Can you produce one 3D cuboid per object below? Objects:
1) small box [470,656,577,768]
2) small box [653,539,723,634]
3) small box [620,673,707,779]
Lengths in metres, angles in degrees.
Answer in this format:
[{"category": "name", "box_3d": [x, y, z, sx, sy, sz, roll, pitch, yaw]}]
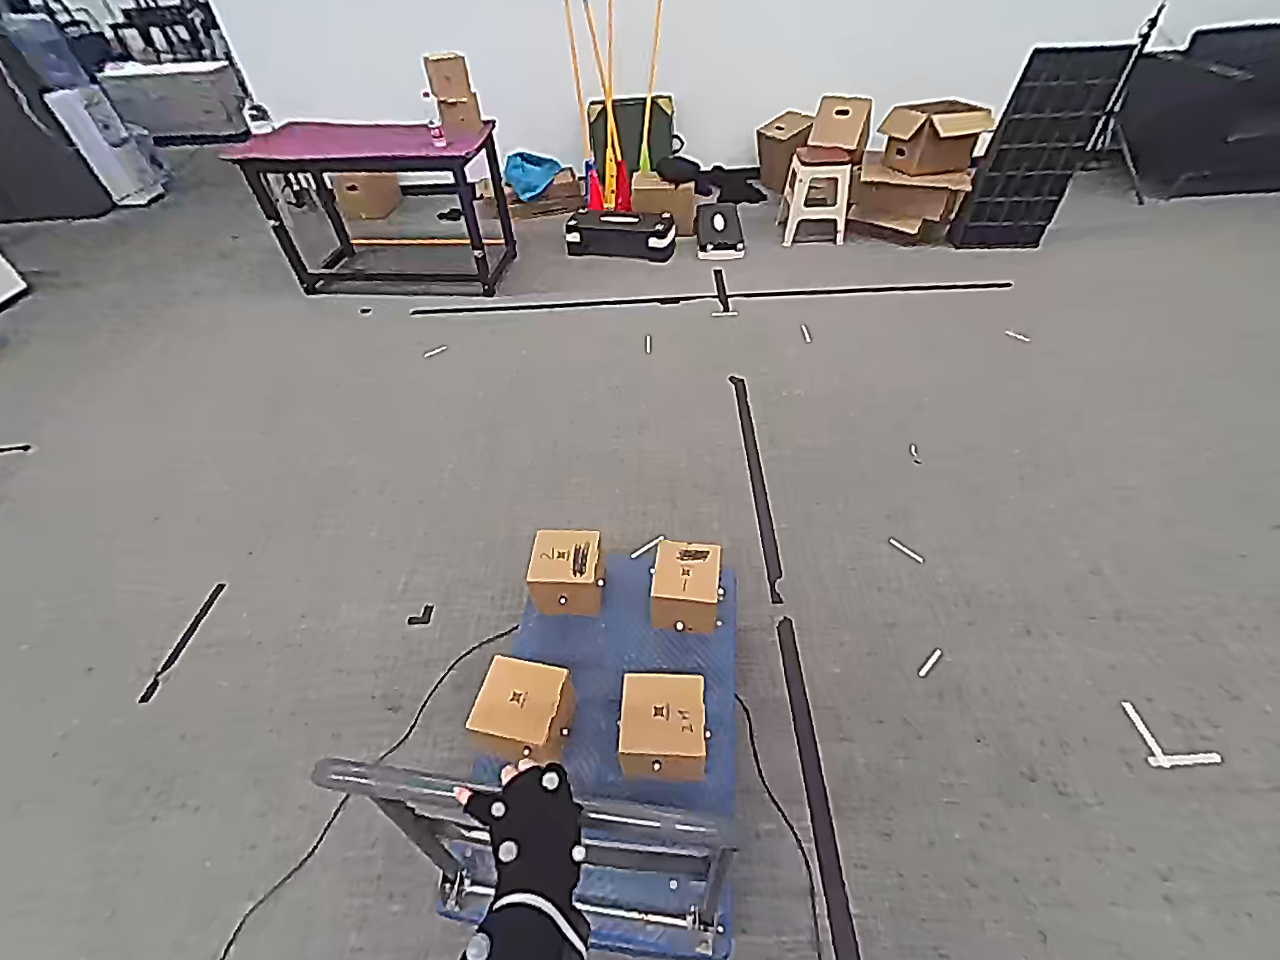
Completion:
[{"category": "small box", "box_3d": [-0.251, 0.522, 1.212, 0.179, 0.176, 0.168, 8, 46, 9]}, {"category": "small box", "box_3d": [0.125, 0.281, 1.423, 0.168, 0.176, 0.179, 4, 47, 8]}, {"category": "small box", "box_3d": [0.056, 0.537, 1.178, 0.179, 0.176, 0.168, 1, 46, 4]}]
